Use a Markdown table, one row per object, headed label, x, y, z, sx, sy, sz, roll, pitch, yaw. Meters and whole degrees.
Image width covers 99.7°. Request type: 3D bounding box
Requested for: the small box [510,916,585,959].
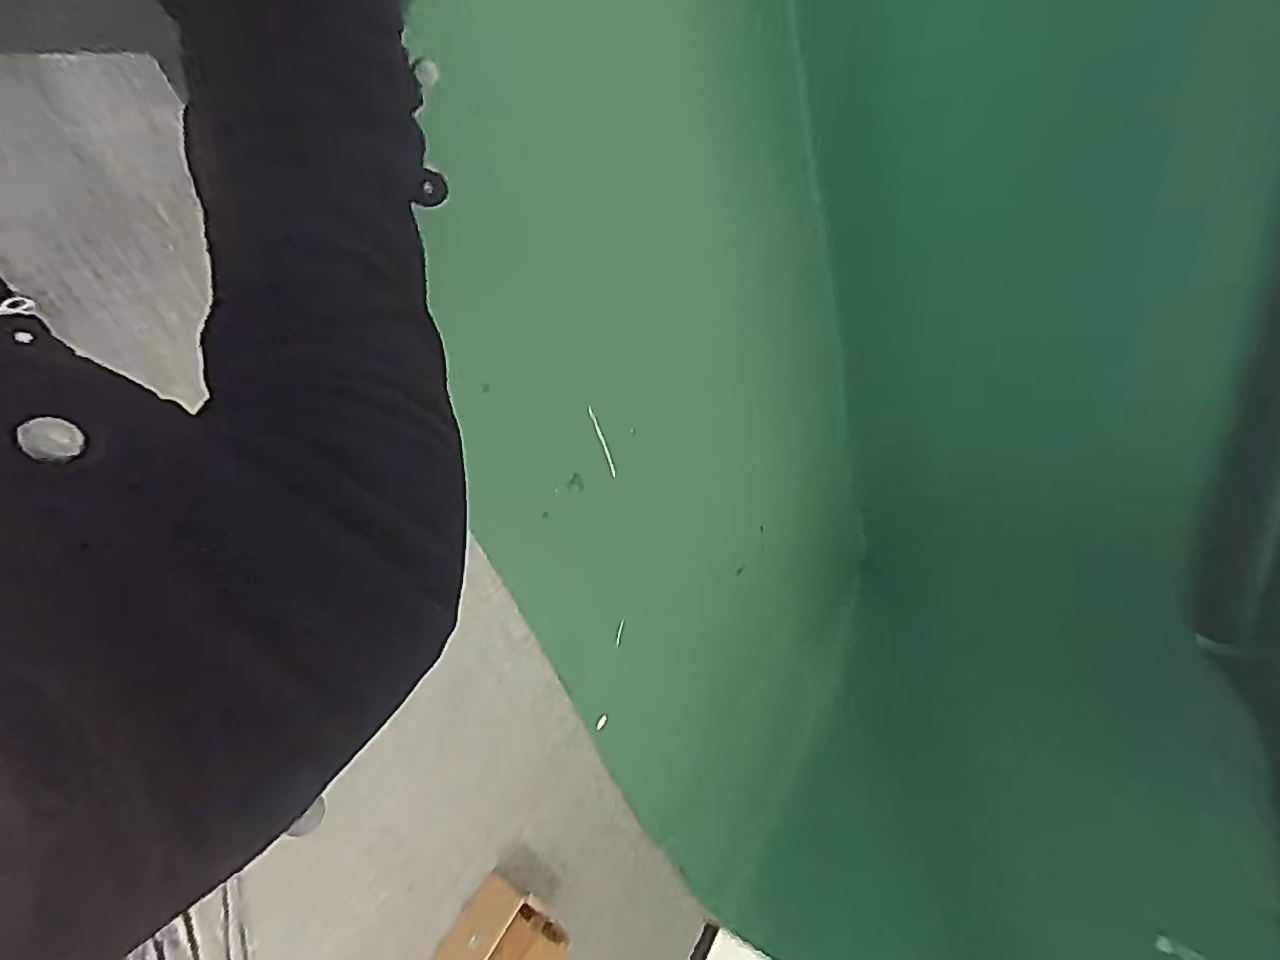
| label | x | y | z | sx | sy | sz | roll | pitch | yaw |
| --- | --- | --- | --- | --- | --- | --- | --- | --- | --- |
| small box | -0.302 | 1.577 | 1.747 | 0.179 | 0.176 | 0.168 | -47 | 129 | -35 |
